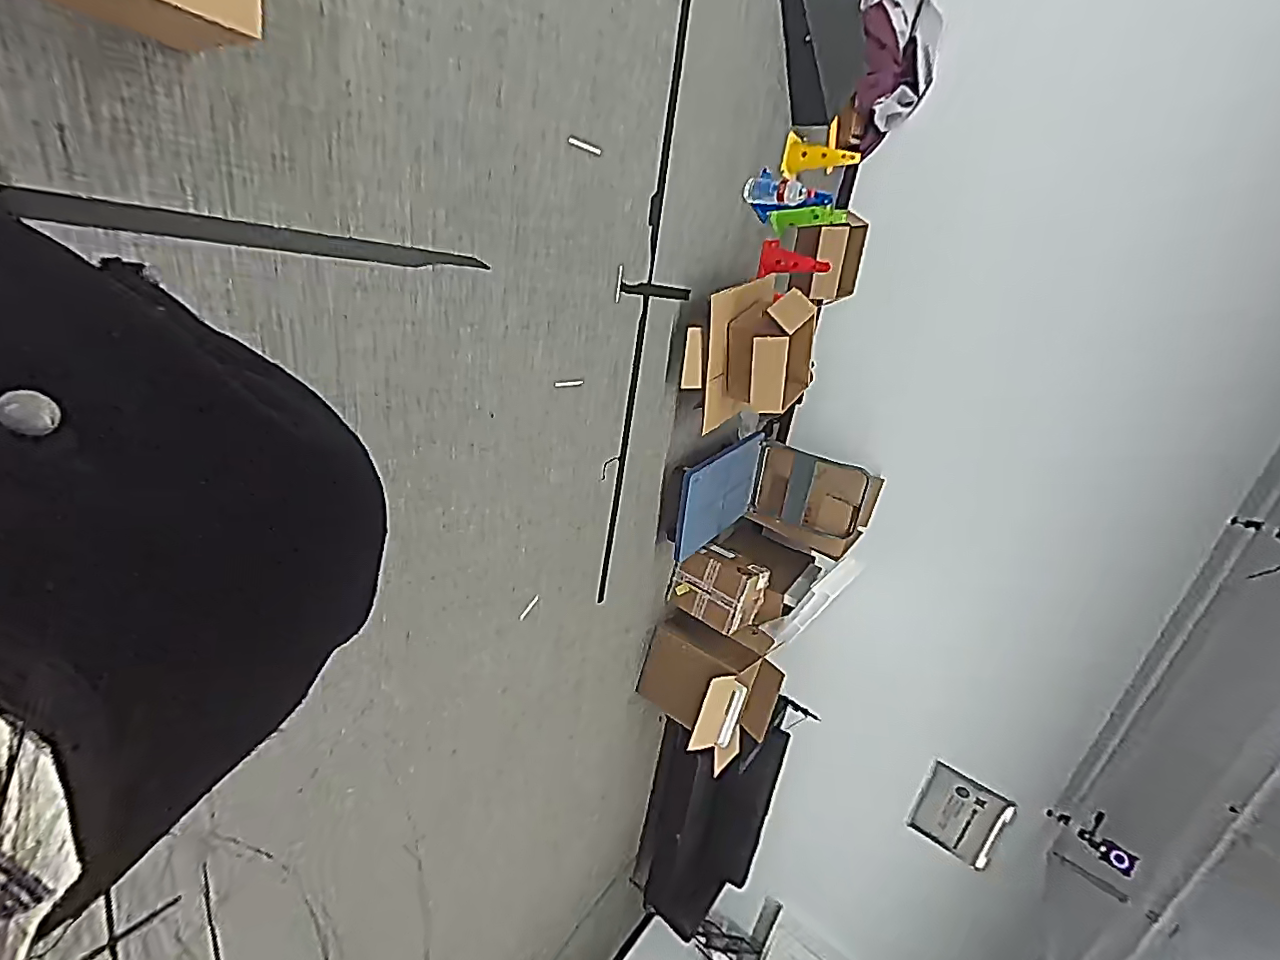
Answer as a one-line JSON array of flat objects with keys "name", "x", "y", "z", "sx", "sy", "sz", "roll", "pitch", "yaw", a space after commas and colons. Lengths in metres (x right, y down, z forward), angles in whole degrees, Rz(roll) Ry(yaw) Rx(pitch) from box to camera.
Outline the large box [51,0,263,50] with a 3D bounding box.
[{"name": "large box", "x": -0.810, "y": -0.858, "z": 0.729, "sx": 0.408, "sy": 0.320, "sz": 0.320, "roll": -16, "pitch": 123, "yaw": -53}]
